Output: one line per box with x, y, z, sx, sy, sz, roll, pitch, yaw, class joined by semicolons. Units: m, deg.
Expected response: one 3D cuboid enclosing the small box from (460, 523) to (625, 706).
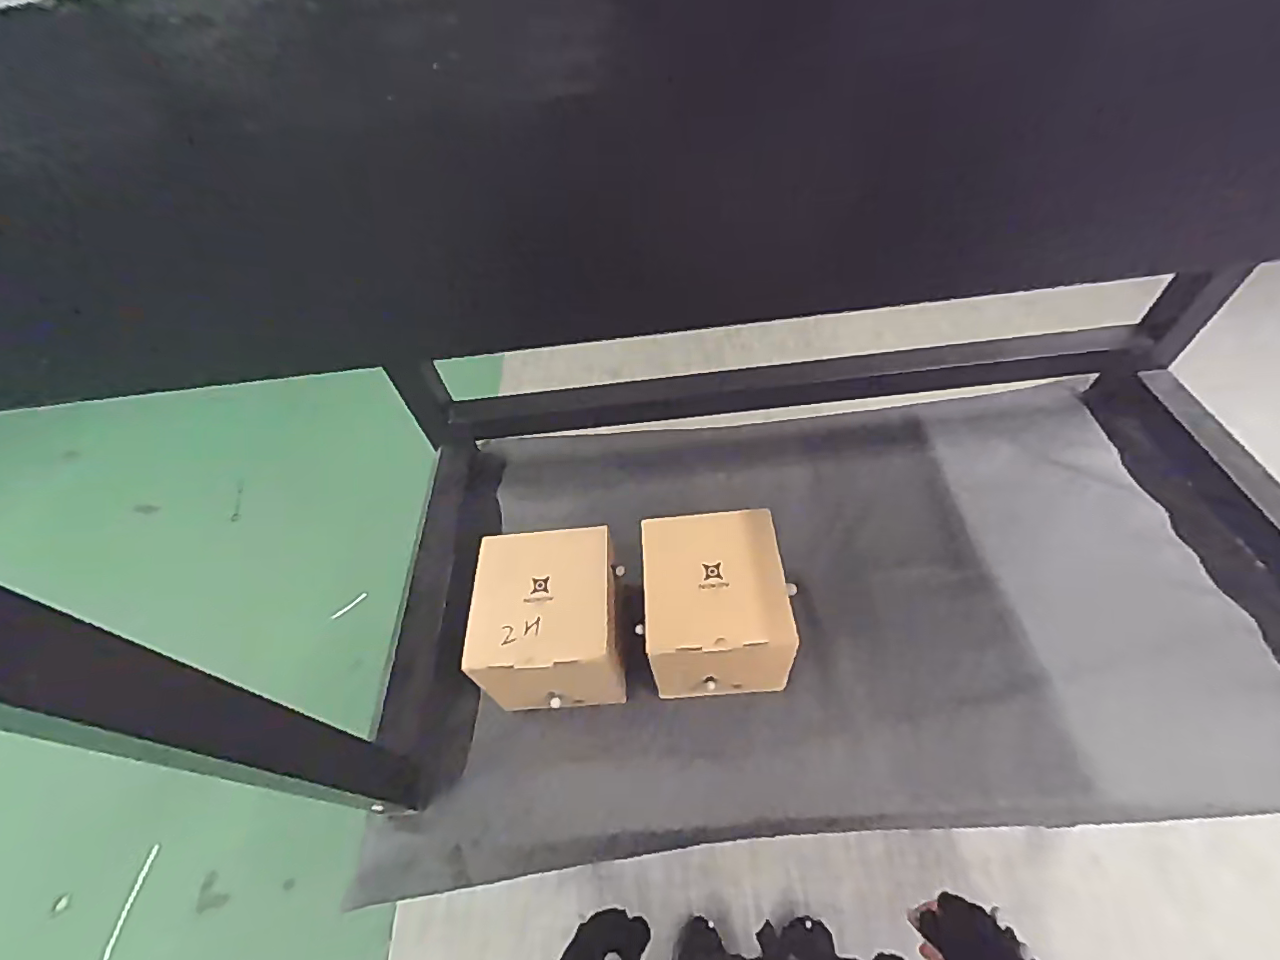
-0.113;0.178;0.707;0.168;0.176;0.179;-5;52;4;small box
